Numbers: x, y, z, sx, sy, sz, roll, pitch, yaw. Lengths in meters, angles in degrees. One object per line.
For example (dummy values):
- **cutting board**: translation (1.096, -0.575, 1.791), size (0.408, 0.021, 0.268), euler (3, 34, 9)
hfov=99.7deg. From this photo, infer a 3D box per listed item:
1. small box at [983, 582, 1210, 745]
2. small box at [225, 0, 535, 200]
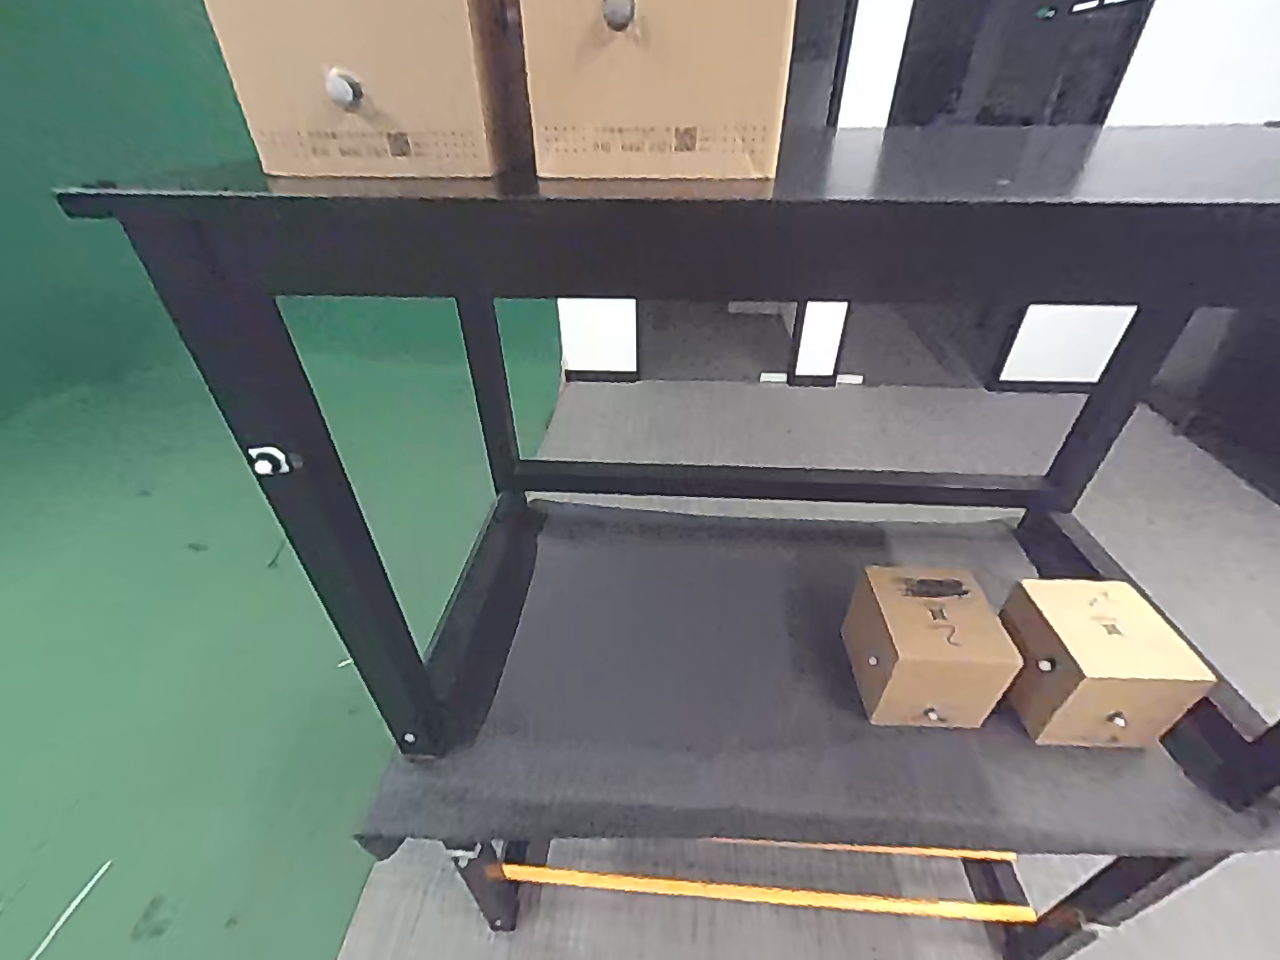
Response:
- **small box**: translation (0.661, 0.275, 0.813), size (0.168, 0.176, 0.179), euler (1, 35, 2)
- **small box**: translation (-0.181, -0.323, 0.413), size (0.168, 0.176, 0.179), euler (1, 37, 3)
